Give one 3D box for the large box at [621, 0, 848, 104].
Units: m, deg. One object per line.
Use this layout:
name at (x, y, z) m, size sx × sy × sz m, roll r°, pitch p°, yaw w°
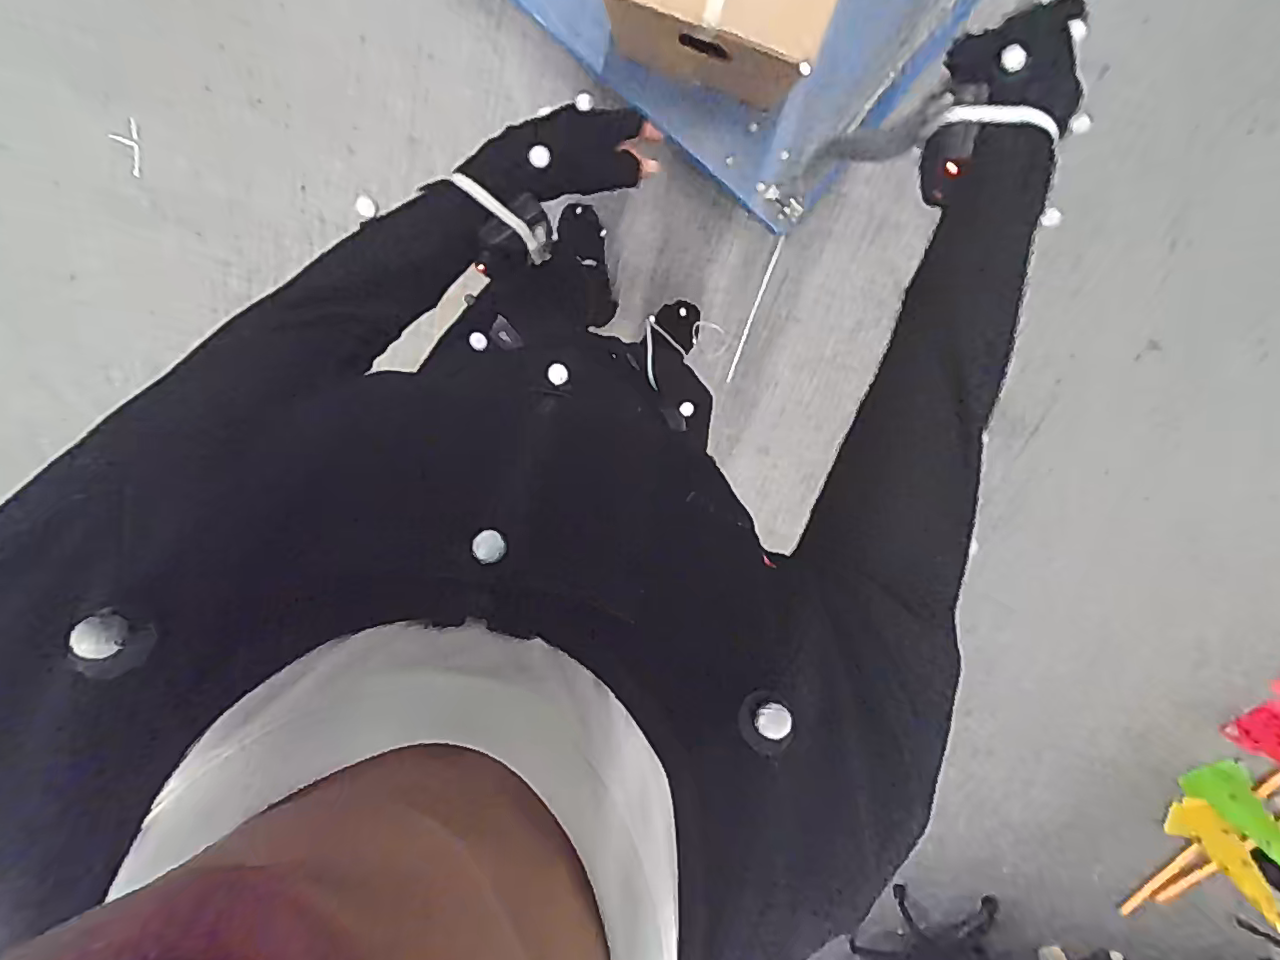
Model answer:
large box at (0.175, -0.855, 0.791) m, size 0.320 × 0.320 × 0.408 m, roll 17°, pitch 116°, yaw -5°
